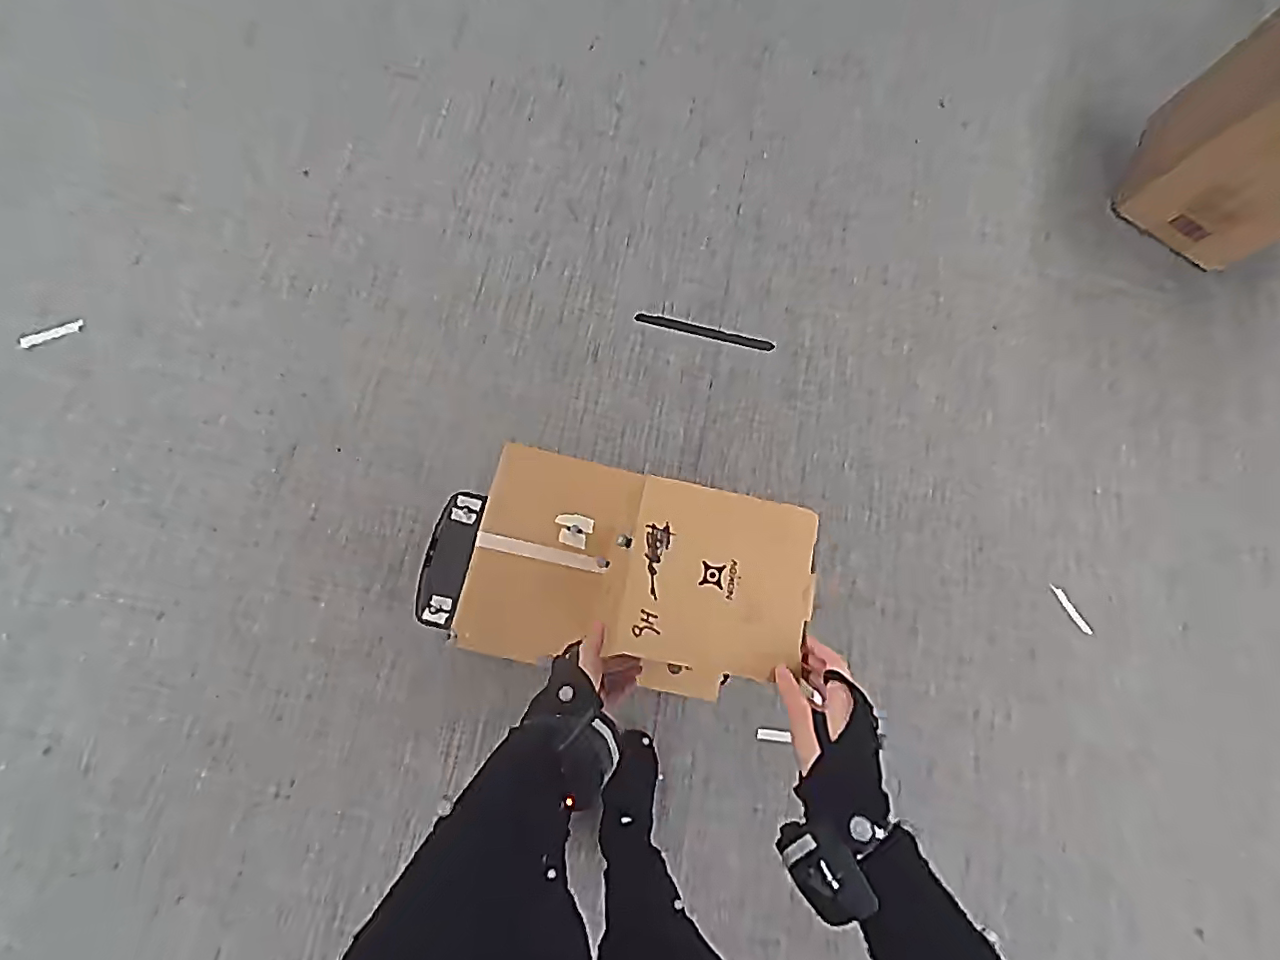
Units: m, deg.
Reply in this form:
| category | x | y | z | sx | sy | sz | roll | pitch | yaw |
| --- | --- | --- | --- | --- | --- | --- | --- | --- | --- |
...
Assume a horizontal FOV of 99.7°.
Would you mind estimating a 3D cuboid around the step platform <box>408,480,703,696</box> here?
| category | x | y | z | sx | sy | sz | roll | pitch | yaw |
| --- | --- | --- | --- | --- | --- | --- | --- | --- | --- |
| step platform | -0.129 | 0.236 | 1.178 | 0.684 | 0.204 | 0.286 | 18 | 75 | -3 |

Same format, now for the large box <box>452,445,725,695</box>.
| category | x | y | z | sx | sy | sz | roll | pitch | yaw |
| --- | --- | --- | --- | --- | --- | --- | --- | --- | --- |
| large box | -0.062 | 0.164 | 0.958 | 0.408 | 0.320 | 0.320 | 13 | 75 | -4 |

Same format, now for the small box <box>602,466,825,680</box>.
| category | x | y | z | sx | sy | sz | roll | pitch | yaw |
| --- | --- | --- | --- | --- | --- | --- | --- | --- | --- |
| small box | 0.066 | 0.099 | 0.568 | 0.179 | 0.176 | 0.168 | 13 | 75 | -6 |
